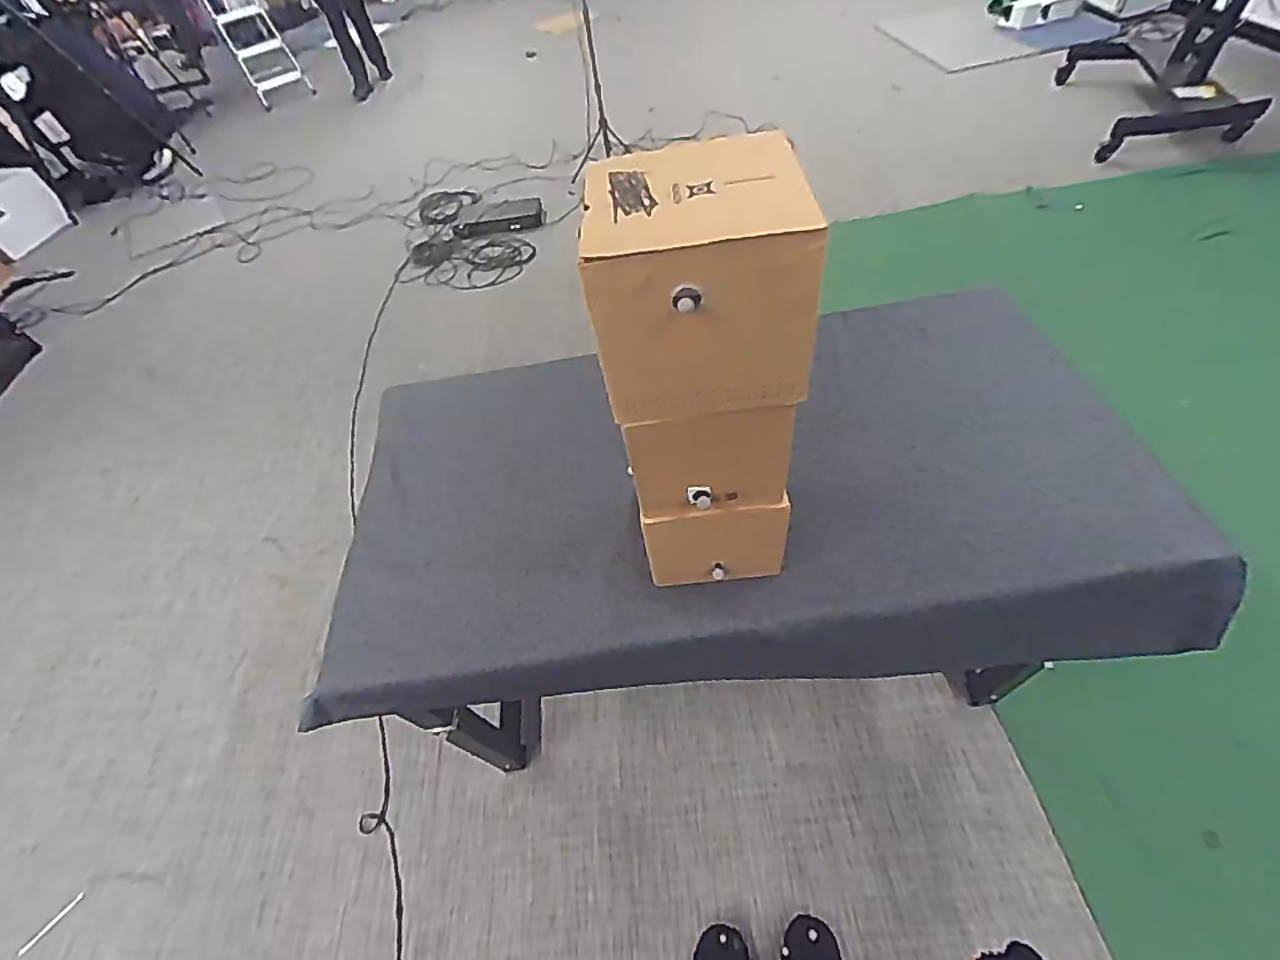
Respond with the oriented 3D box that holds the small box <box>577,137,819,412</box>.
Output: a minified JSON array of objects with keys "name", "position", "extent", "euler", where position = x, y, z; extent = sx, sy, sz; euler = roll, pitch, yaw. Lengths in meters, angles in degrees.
[{"name":"small box","position":[0.050,-0.177,0.491],"extent":[0.179,0.176,0.168],"euler":[-5,52,5]}]

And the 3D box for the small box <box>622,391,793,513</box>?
[{"name":"small box","position":[0.069,-0.084,0.625],"extent":[0.168,0.176,0.179],"euler":[-9,53,4]}]

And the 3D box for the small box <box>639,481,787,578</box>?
[{"name":"small box","position":[0.091,0.021,0.747],"extent":[0.179,0.176,0.168],"euler":[-7,52,3]}]
